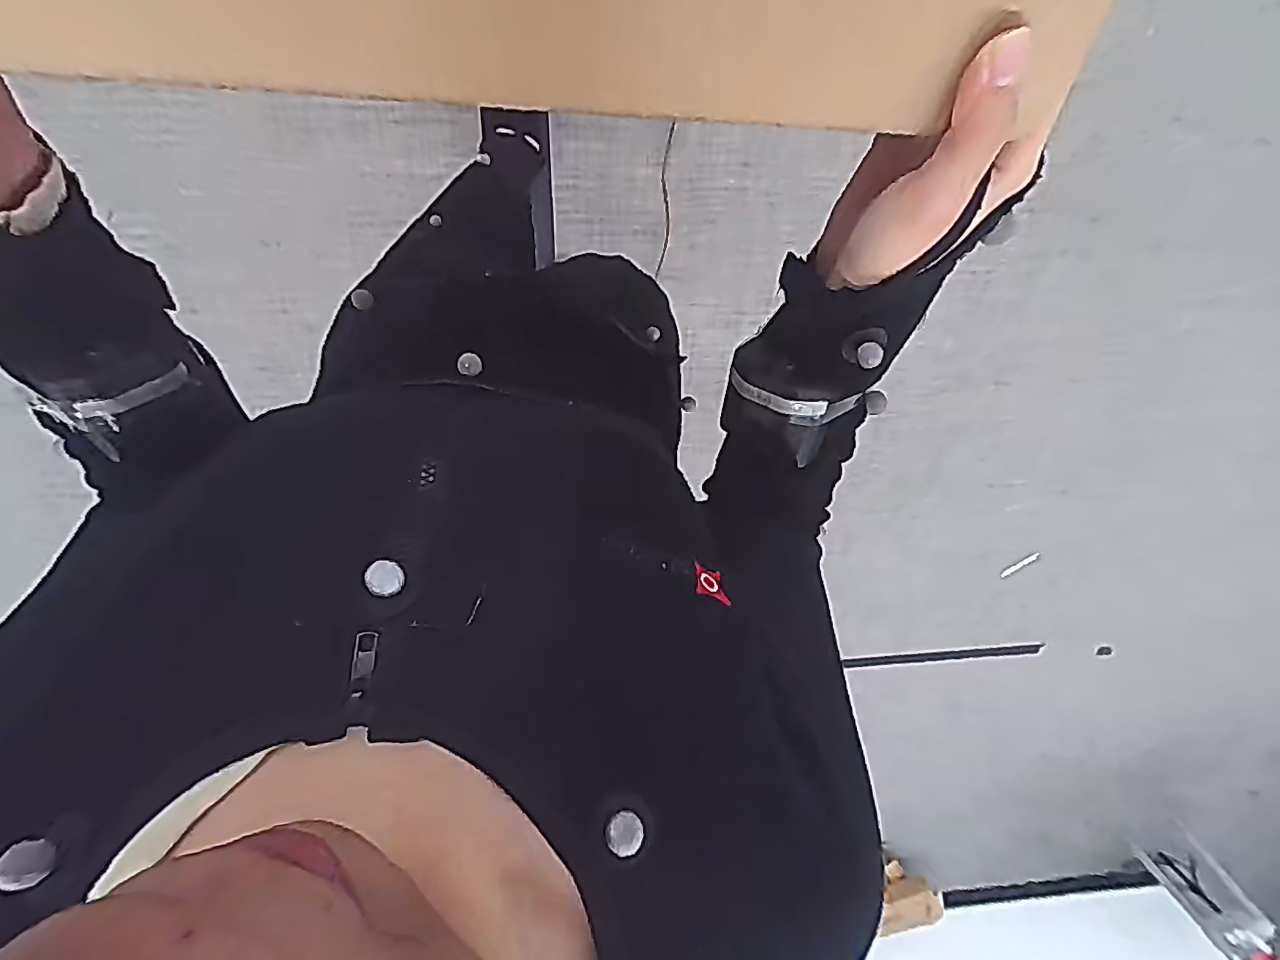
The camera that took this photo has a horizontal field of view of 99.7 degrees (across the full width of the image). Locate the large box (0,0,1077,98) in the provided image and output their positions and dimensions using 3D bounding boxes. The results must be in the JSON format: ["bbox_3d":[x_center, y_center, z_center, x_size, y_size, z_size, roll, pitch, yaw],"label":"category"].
[{"bbox_3d":[-0.057,-0.349,0.164,0.408,0.320,0.320,-1,141,-6],"label":"large box"}]
